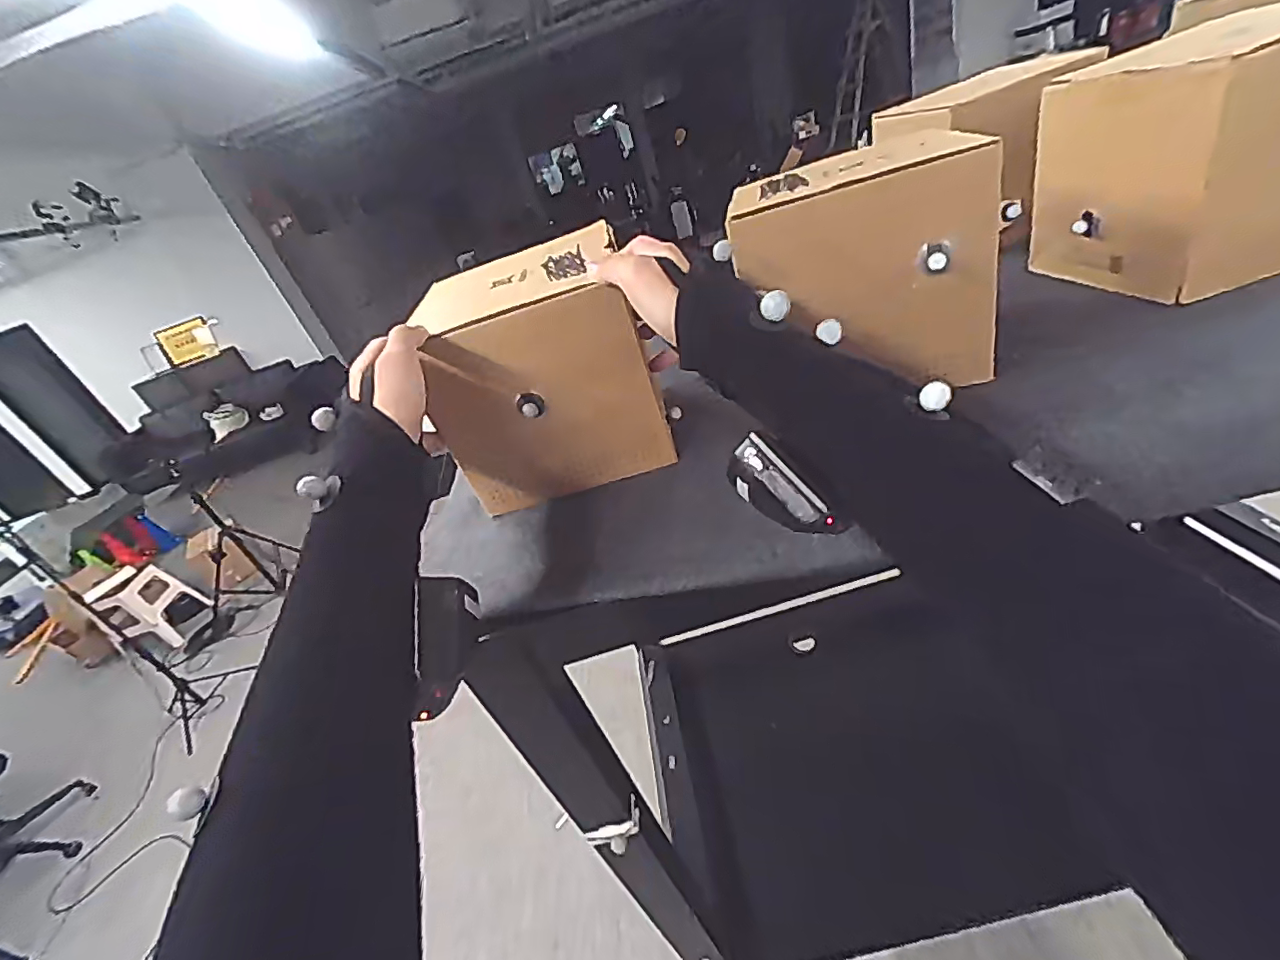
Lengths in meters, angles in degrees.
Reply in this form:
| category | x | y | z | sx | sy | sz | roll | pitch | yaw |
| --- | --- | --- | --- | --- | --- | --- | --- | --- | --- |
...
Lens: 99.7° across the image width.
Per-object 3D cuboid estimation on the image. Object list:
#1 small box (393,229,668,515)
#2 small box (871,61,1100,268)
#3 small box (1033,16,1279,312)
| category | x | y | z | sx | sy | sz | roll | pitch | yaw |
| --- | --- | --- | --- | --- | --- | --- | --- | --- | --- |
| small box | -0.079 | -0.096 | 0.488 | 0.179 | 0.176 | 0.168 | -17 | 36 | 6 |
| small box | 0.407 | -0.379 | 0.668 | 0.168 | 0.176 | 0.179 | -19 | 32 | 4 |
| small box | 0.470 | -0.263 | 0.452 | 0.179 | 0.176 | 0.168 | -19 | 31 | 4 |
